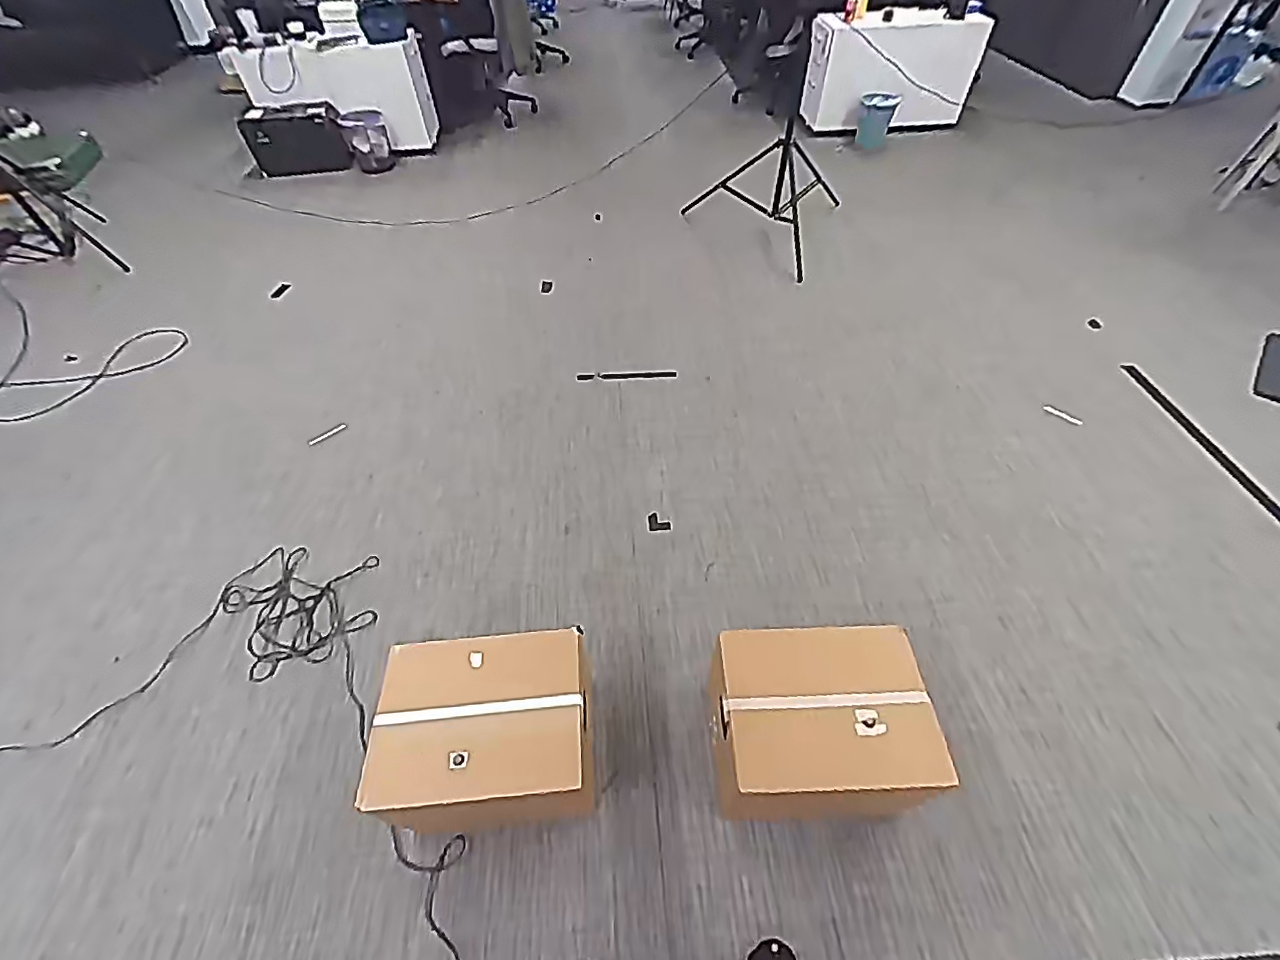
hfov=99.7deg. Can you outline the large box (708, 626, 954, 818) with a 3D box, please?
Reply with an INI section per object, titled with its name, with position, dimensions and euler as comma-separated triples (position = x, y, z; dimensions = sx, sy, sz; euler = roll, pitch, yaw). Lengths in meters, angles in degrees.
[large box]
position = 0.378, 0.540, 1.200
dimensions = 0.408, 0.320, 0.320
euler = -1, 51, -1
